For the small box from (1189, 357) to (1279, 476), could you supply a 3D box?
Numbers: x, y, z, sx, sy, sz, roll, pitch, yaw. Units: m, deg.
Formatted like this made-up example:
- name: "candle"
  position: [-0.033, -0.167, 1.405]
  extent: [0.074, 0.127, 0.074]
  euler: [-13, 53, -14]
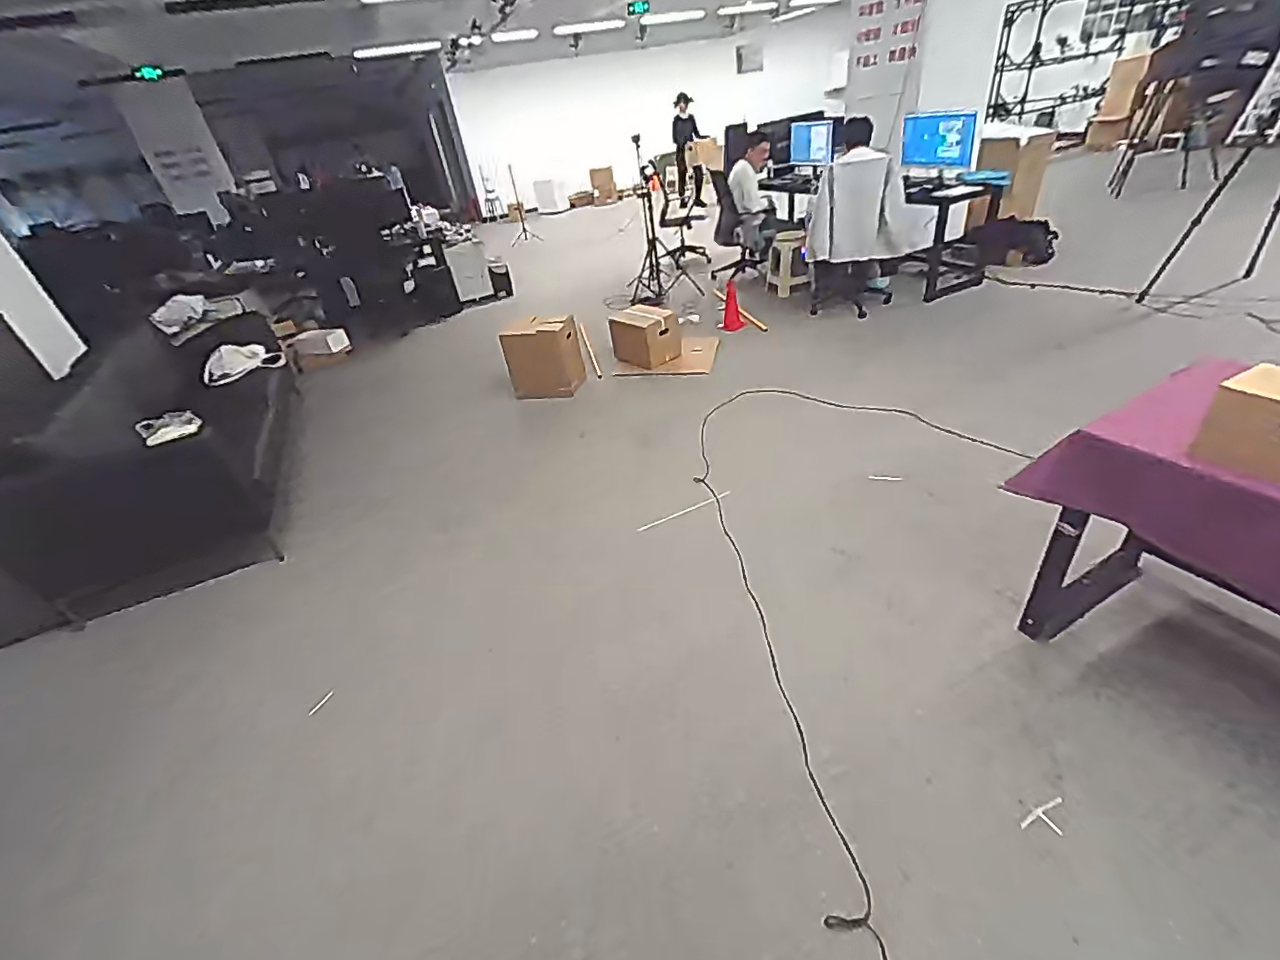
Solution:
- name: "small box"
  position: [1.299, -0.127, 1.102]
  extent: [0.168, 0.176, 0.179]
  euler: [-21, 35, -17]
